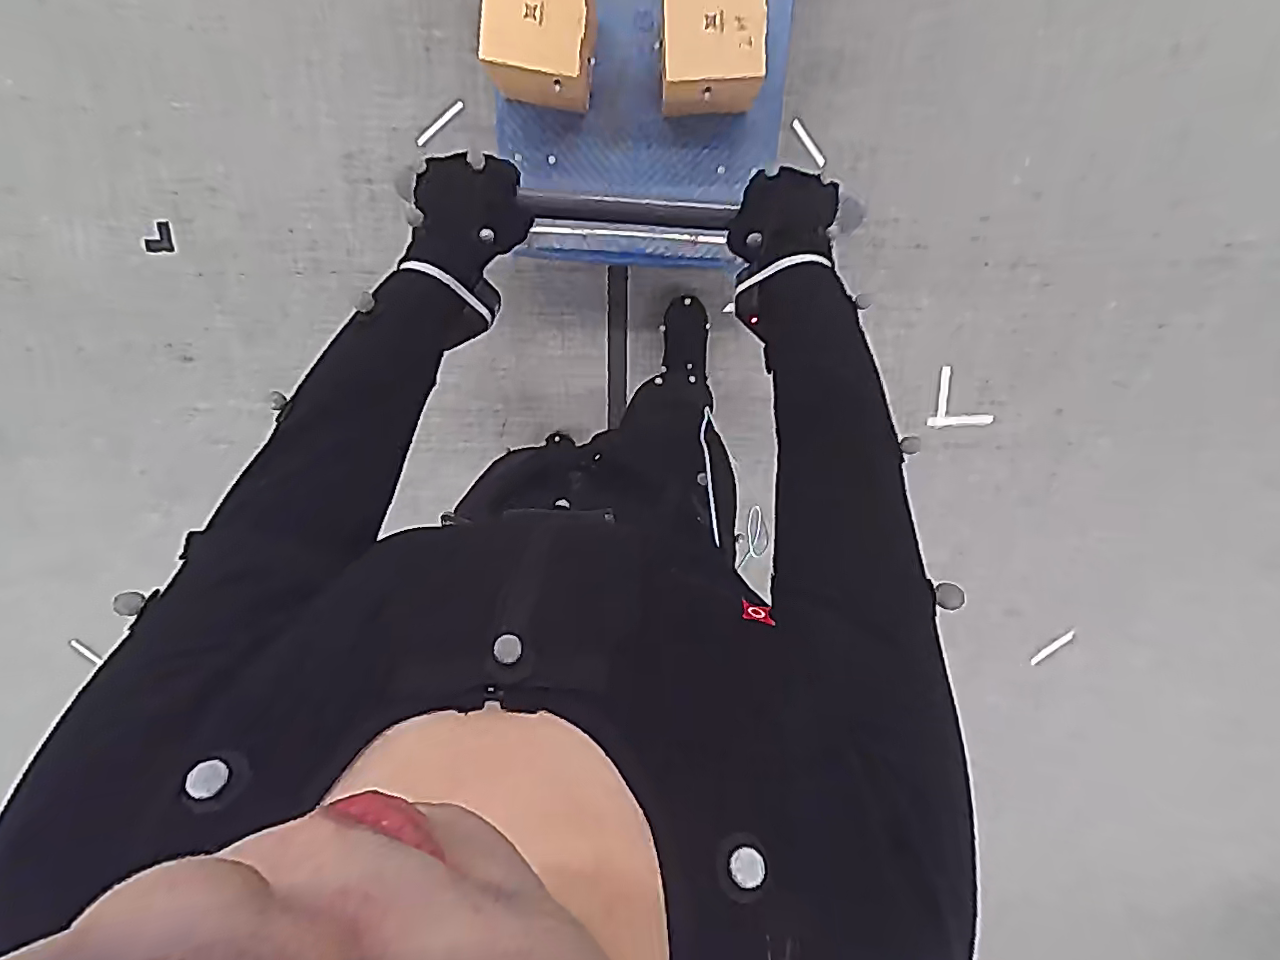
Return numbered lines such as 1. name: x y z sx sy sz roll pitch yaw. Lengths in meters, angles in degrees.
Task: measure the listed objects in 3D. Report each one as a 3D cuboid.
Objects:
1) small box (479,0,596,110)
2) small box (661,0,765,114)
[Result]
1. small box: -0.180 -0.810 0.991 0.179 0.176 0.168 8 106 -4
2. small box: 0.126 -0.796 0.994 0.179 0.176 0.168 -2 107 1
